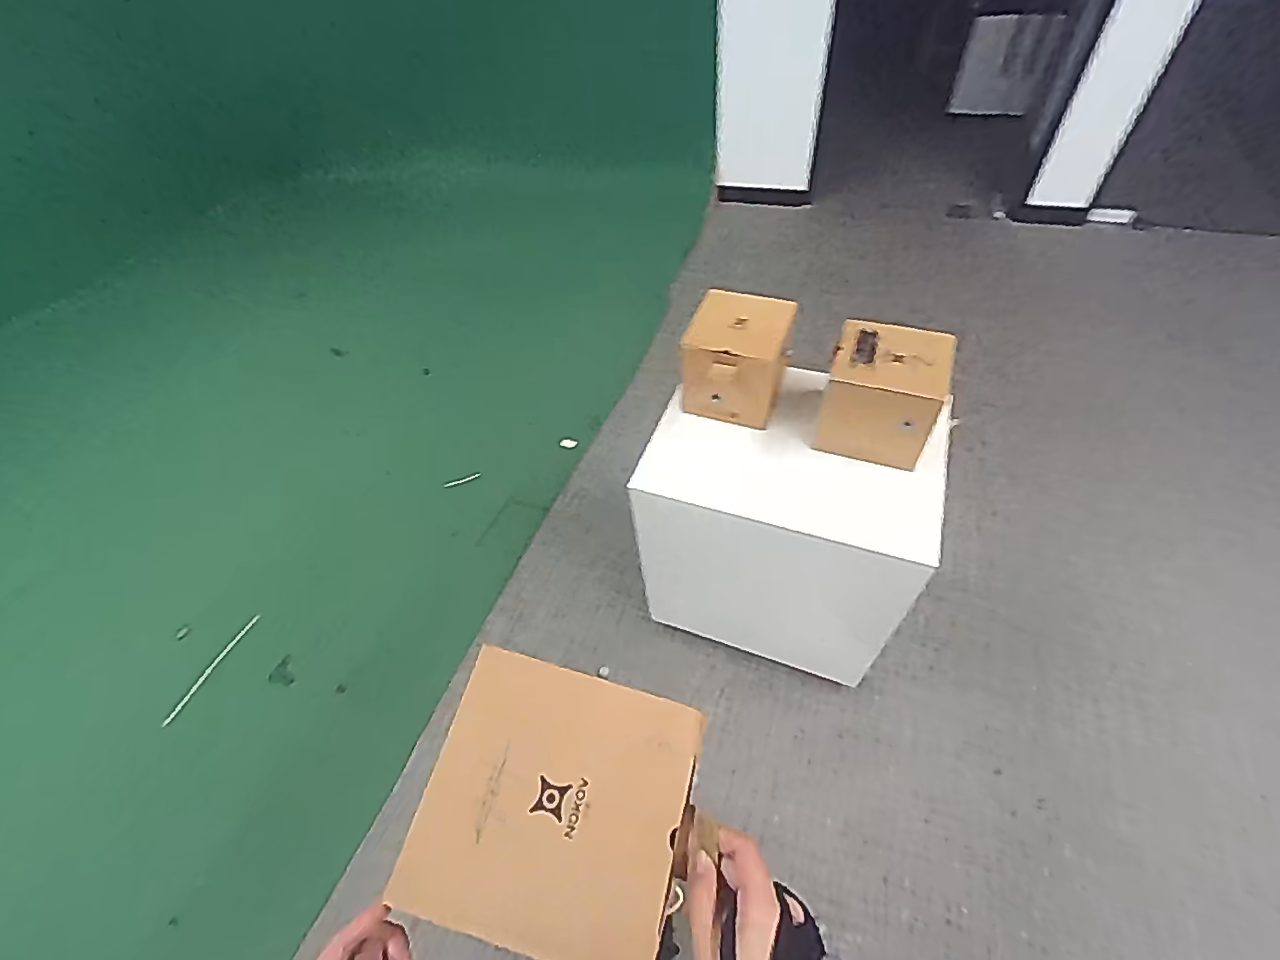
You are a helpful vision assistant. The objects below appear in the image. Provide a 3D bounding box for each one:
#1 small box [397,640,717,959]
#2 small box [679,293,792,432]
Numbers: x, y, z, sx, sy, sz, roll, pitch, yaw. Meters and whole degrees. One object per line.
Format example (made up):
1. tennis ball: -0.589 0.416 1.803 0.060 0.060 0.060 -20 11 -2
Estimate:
1. small box: -0.051 0.247 0.437 0.179 0.176 0.168 15 62 6
2. small box: 0.177 -0.221 1.022 0.168 0.176 0.179 15 55 16
